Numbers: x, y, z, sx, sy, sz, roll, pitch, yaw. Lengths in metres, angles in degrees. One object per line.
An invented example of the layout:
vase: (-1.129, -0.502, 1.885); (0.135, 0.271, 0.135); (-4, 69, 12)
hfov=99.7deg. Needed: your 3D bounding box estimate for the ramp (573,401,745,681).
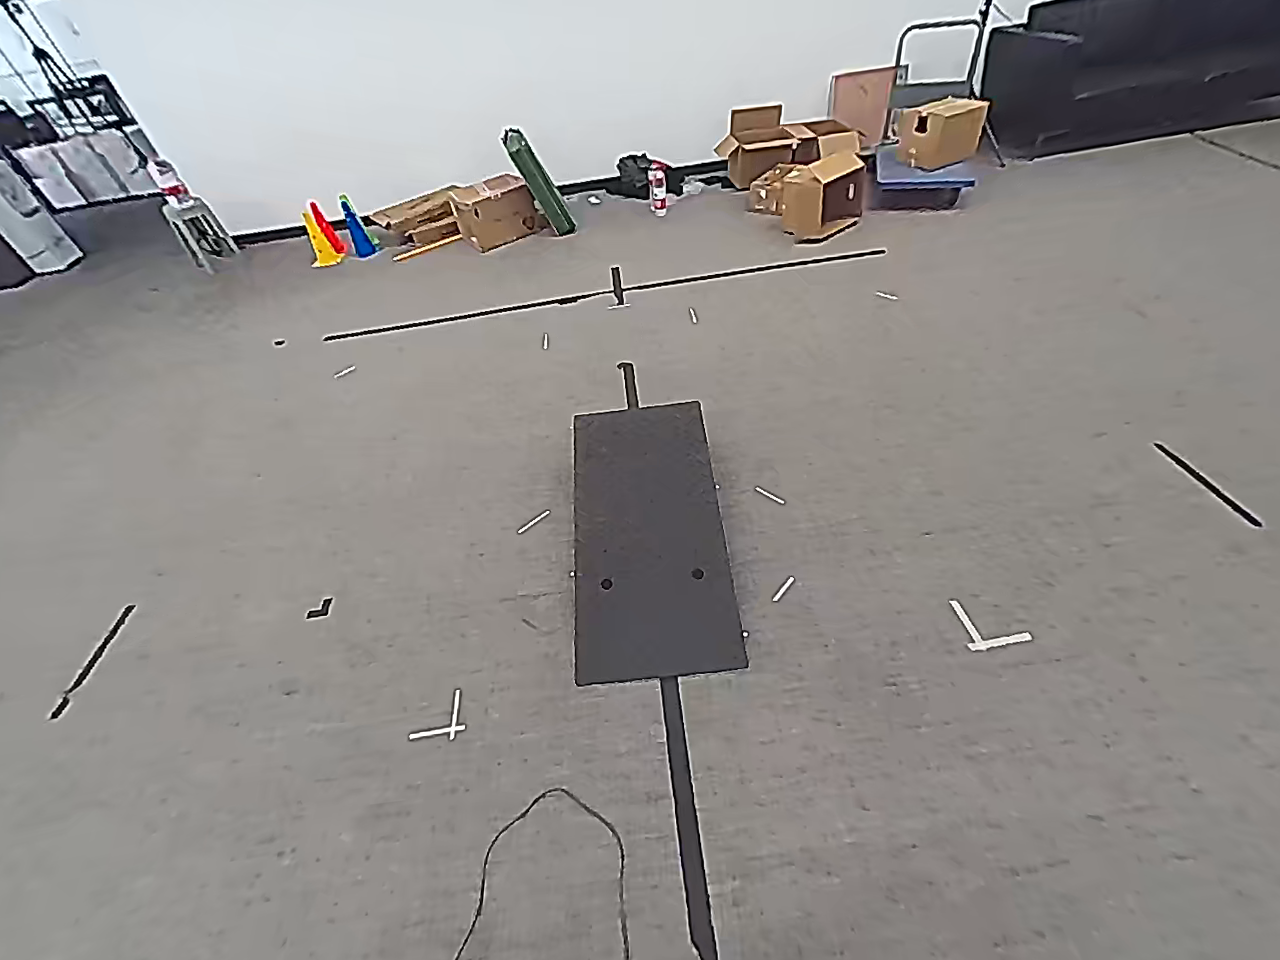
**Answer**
ramp: (0.022, 0.135, 1.803); (0.509, 0.206, 0.991); (-7, 45, 0)
